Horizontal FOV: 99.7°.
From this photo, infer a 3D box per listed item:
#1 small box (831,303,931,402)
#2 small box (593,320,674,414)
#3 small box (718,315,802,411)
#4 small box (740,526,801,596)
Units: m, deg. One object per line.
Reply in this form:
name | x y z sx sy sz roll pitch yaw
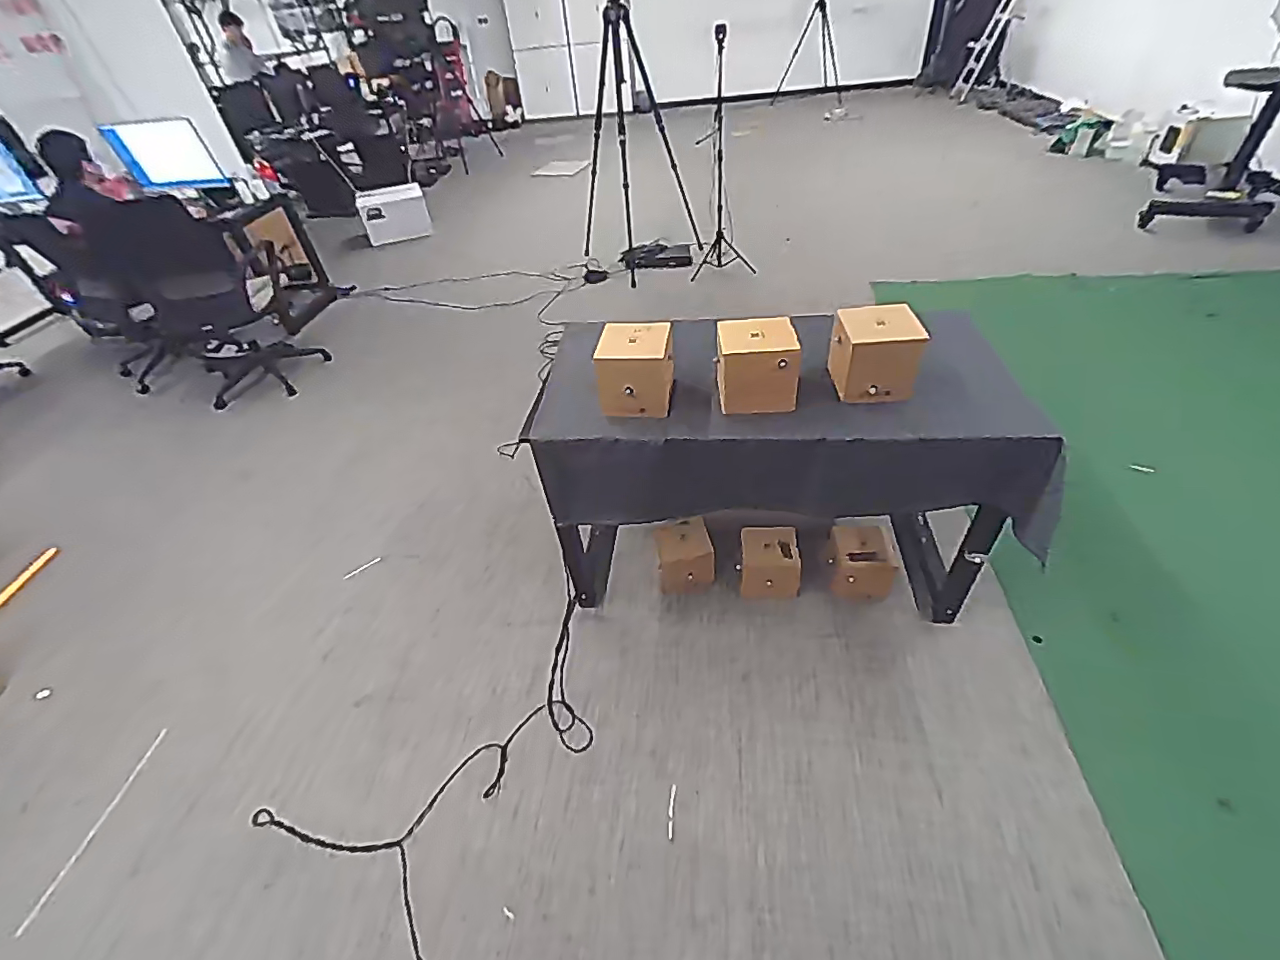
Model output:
small box | 0.562 -0.302 1.288 0.168 0.176 0.179 -2 43 7
small box | -0.008 -0.275 1.331 0.168 0.176 0.179 3 43 9
small box | 0.280 -0.277 1.300 0.179 0.176 0.168 -2 42 5
small box | 0.420 0.266 1.765 0.179 0.176 0.168 -2 43 8
